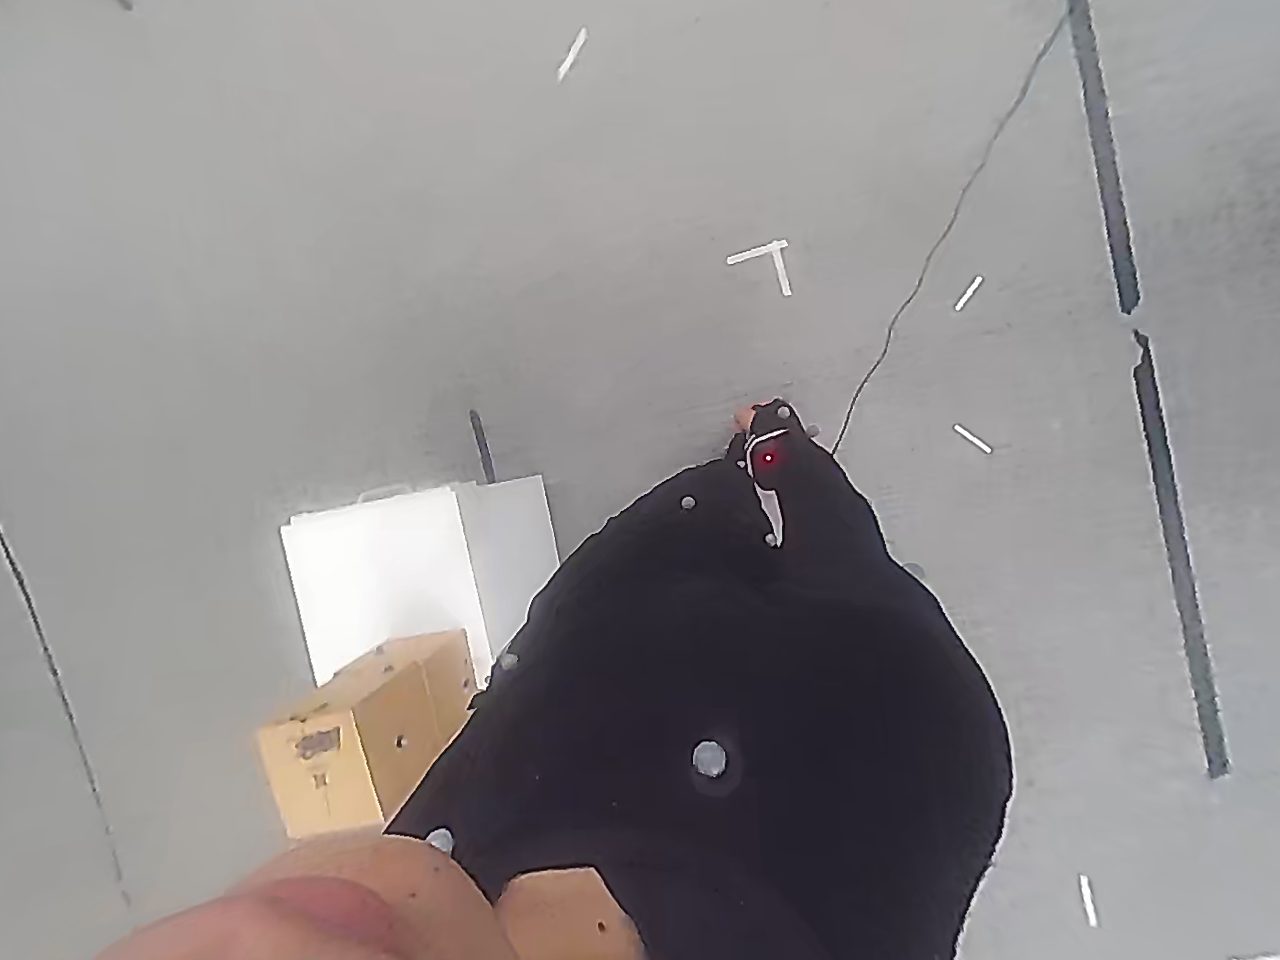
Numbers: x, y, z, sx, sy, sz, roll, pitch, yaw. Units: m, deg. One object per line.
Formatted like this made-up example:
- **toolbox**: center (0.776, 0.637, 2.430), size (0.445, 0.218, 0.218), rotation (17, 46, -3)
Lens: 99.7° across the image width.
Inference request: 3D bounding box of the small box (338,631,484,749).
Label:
- **small box**: center (-0.421, 0.398, 1.018), size (0.179, 0.176, 0.168), rotation (-10, 93, 8)

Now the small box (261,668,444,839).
- **small box**: center (-0.441, 0.417, 0.856), size (0.168, 0.176, 0.179), rotation (-15, 94, 9)
